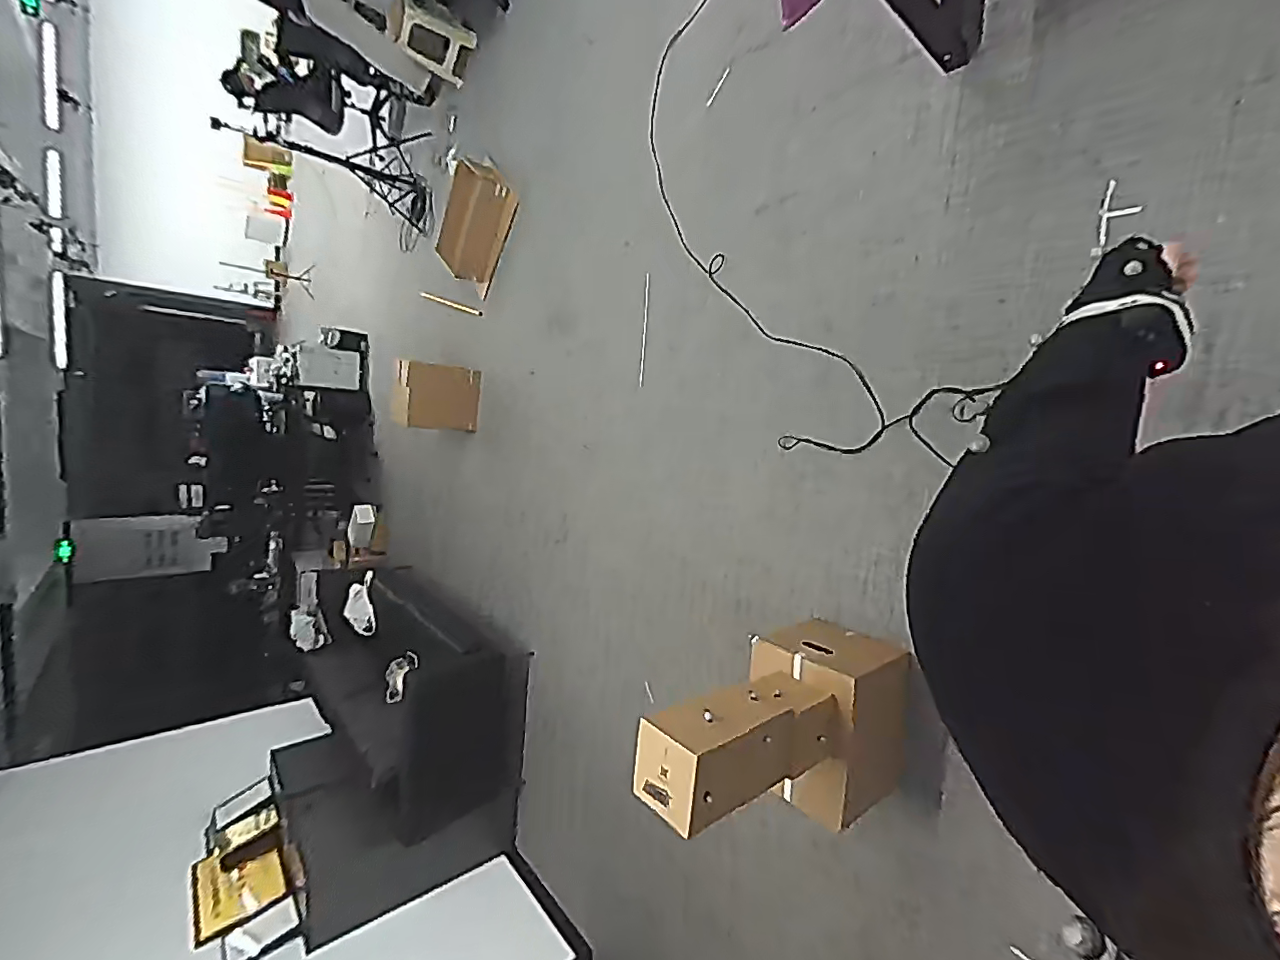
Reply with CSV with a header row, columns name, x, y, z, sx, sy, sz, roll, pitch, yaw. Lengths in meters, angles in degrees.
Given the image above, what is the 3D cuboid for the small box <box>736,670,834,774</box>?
name,x,y,z,sx,sy,sz,roll,pitch,yaw
small box,0.362,0.598,1.366,0.179,0.176,0.168,7,96,47

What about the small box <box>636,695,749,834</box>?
name,x,y,z,sx,sy,sz,roll,pitch,yaw
small box,0.113,0.592,1.151,0.168,0.176,0.179,12,99,47
